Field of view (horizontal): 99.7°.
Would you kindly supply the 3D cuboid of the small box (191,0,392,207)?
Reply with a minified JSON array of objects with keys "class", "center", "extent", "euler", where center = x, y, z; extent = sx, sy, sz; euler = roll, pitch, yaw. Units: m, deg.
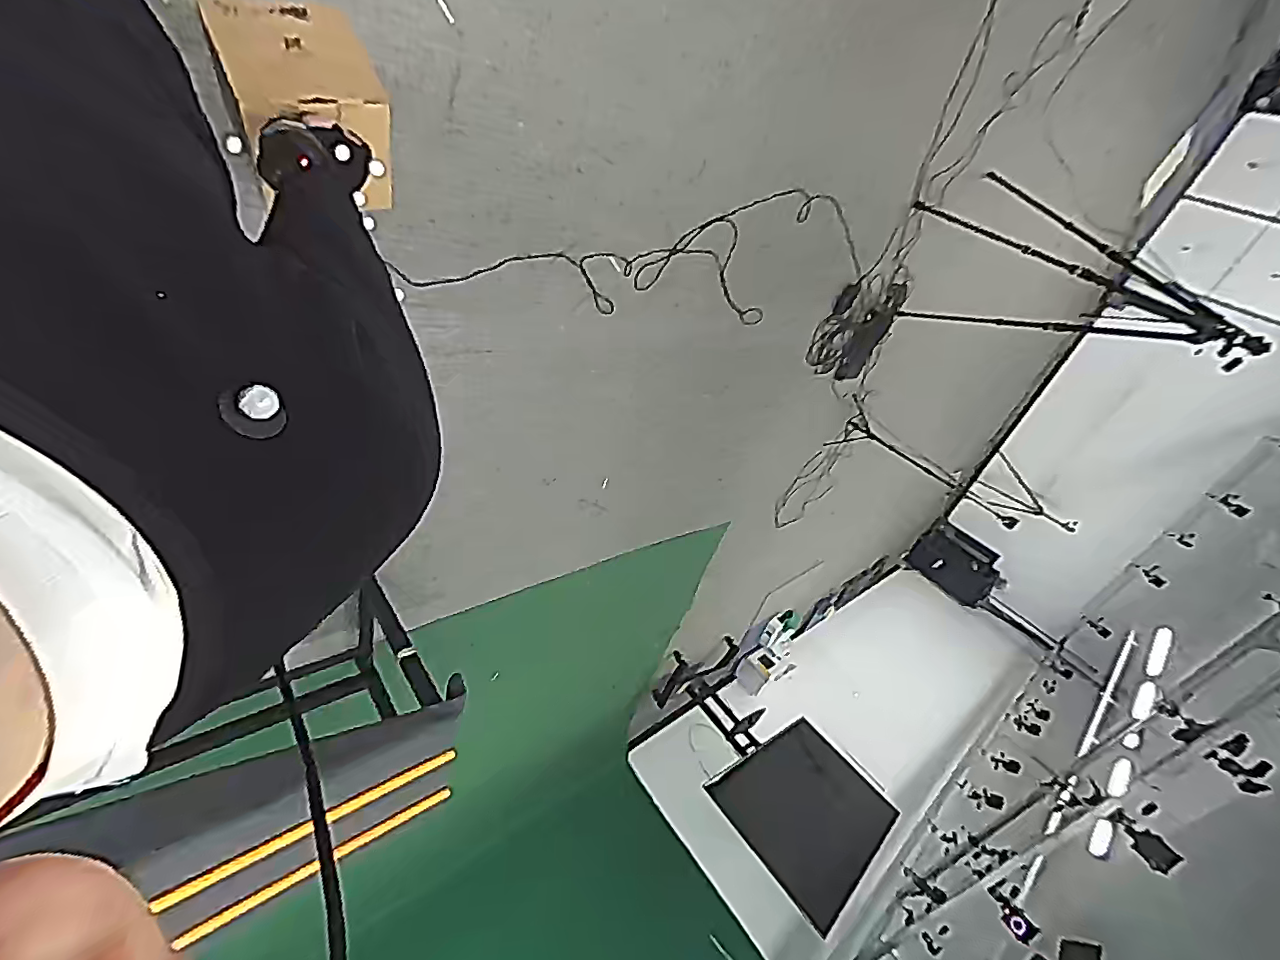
[{"class":"small box","center":[-0.449,-0.494,0.727],"extent":[0.168,0.179,0.176],"euler":[-24,170,-27]}]
